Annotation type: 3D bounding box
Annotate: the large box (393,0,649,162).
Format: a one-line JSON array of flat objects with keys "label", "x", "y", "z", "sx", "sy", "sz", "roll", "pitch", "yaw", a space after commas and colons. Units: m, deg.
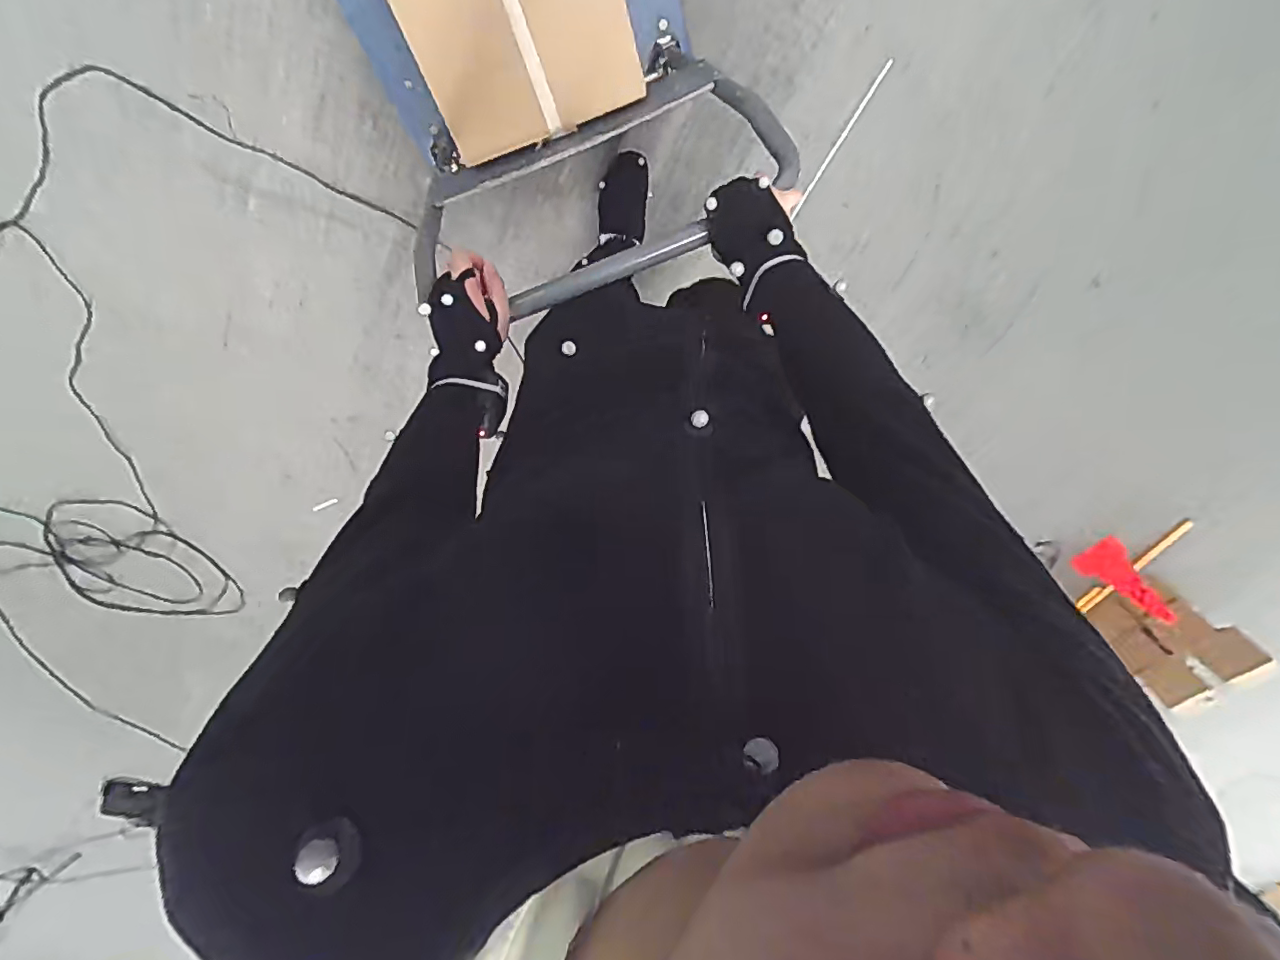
[{"label": "large box", "x": -0.208, "y": -0.792, "z": 0.838, "sx": 0.320, "sy": 0.320, "sz": 0.408, "roll": -19, "pitch": 132, "yaw": 6}]
